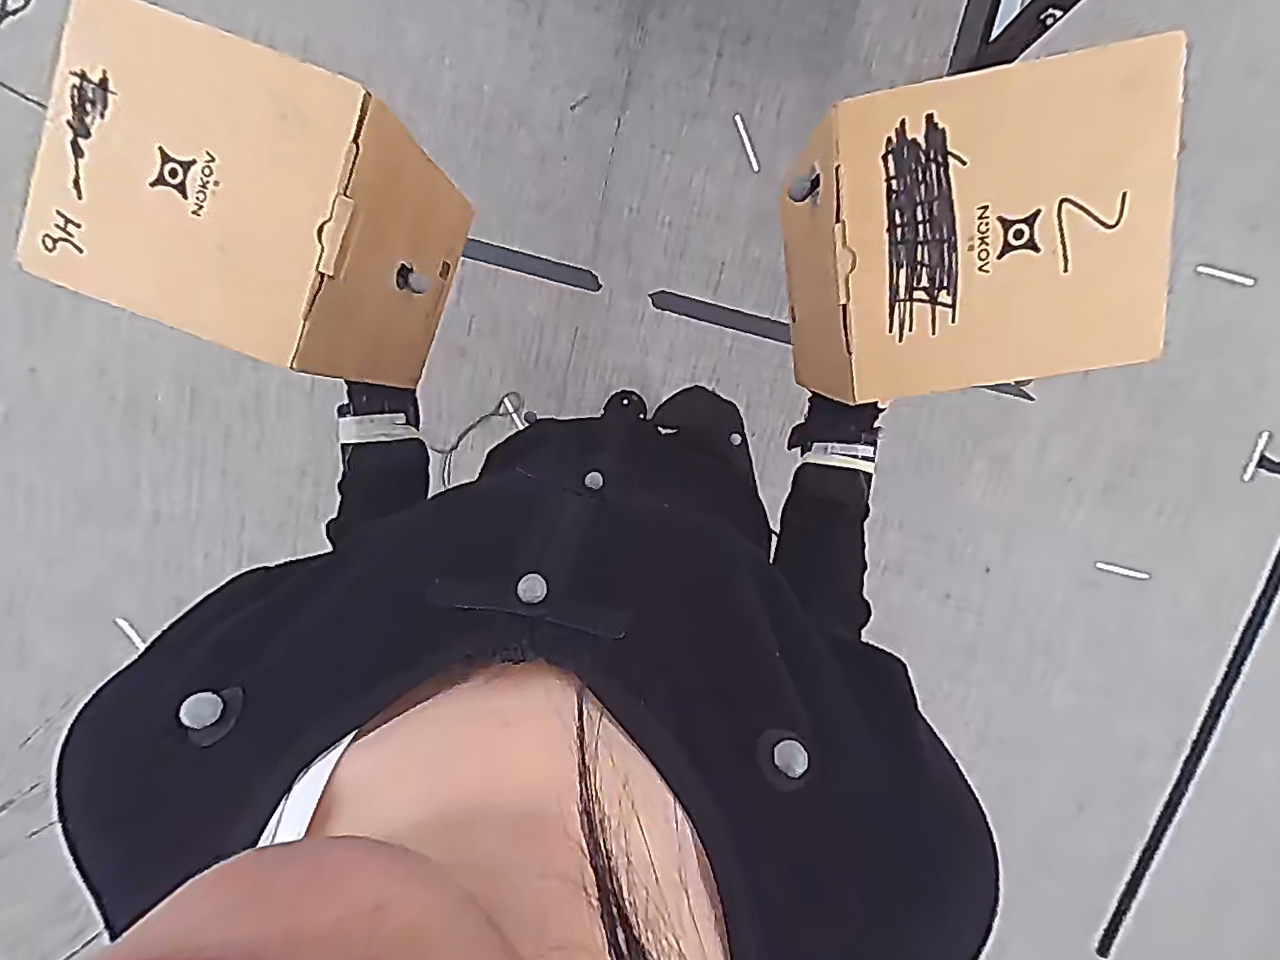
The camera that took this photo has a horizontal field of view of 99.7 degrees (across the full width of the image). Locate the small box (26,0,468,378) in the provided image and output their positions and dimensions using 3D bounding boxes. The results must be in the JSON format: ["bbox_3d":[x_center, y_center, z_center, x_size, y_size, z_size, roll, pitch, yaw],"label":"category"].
[{"bbox_3d":[-0.247,-0.179,0.388,0.179,0.176,0.168,21,96,-1],"label":"small box"}]
